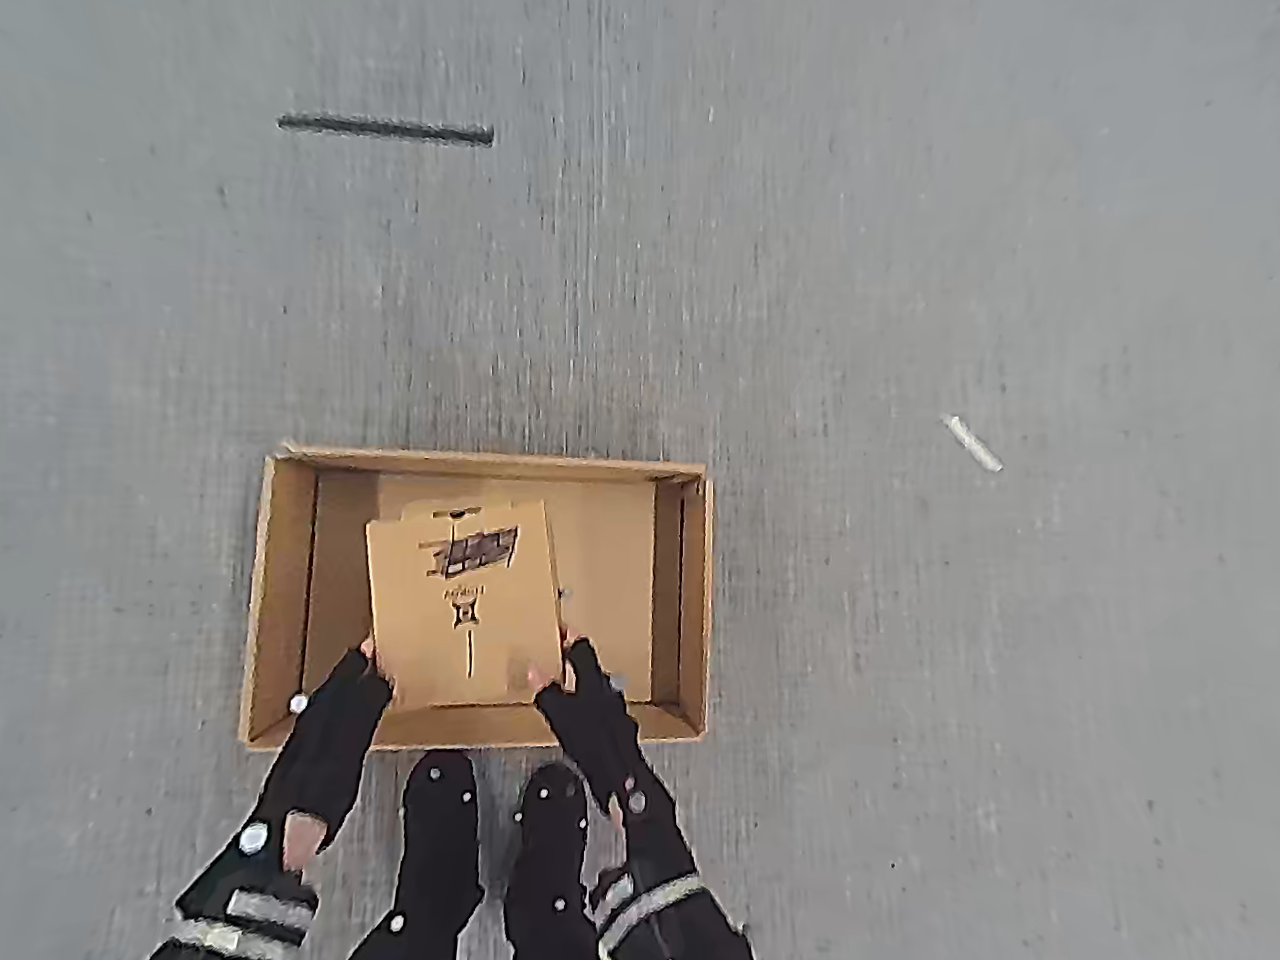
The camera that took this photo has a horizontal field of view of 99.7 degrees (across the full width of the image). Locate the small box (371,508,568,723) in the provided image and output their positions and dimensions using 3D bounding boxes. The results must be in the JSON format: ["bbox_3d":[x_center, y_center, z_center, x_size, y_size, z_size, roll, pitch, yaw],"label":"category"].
[{"bbox_3d":[-0.168,0.132,0.571,0.168,0.176,0.179,-6,82,-9],"label":"small box"}]
